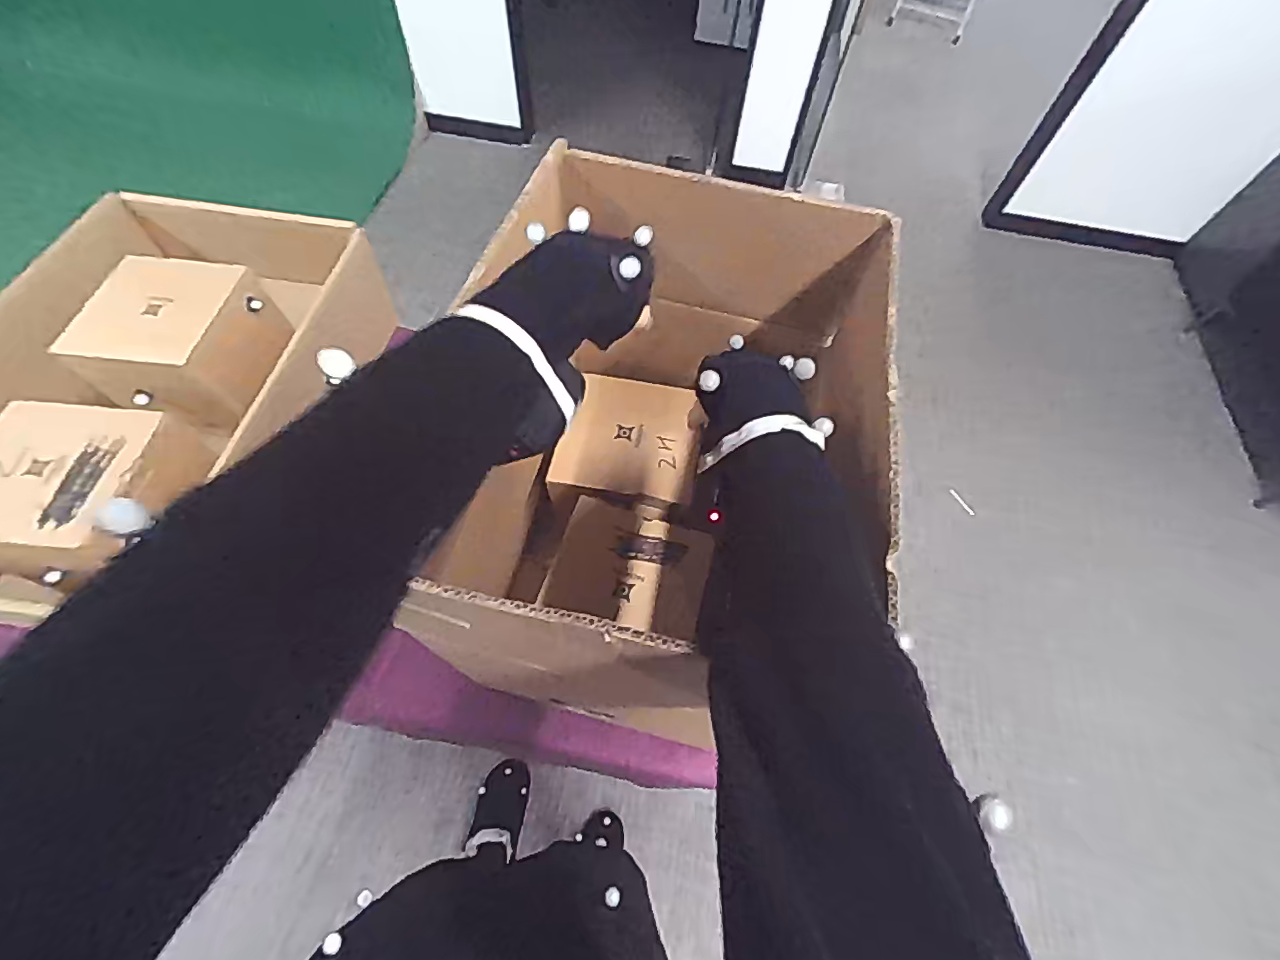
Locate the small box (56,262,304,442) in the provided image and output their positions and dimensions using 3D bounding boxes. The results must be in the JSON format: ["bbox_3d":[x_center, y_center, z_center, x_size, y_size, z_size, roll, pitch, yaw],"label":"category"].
[{"bbox_3d":[-0.611,-0.171,0.753,0.168,0.176,0.179,6,60,1],"label":"small box"}]
